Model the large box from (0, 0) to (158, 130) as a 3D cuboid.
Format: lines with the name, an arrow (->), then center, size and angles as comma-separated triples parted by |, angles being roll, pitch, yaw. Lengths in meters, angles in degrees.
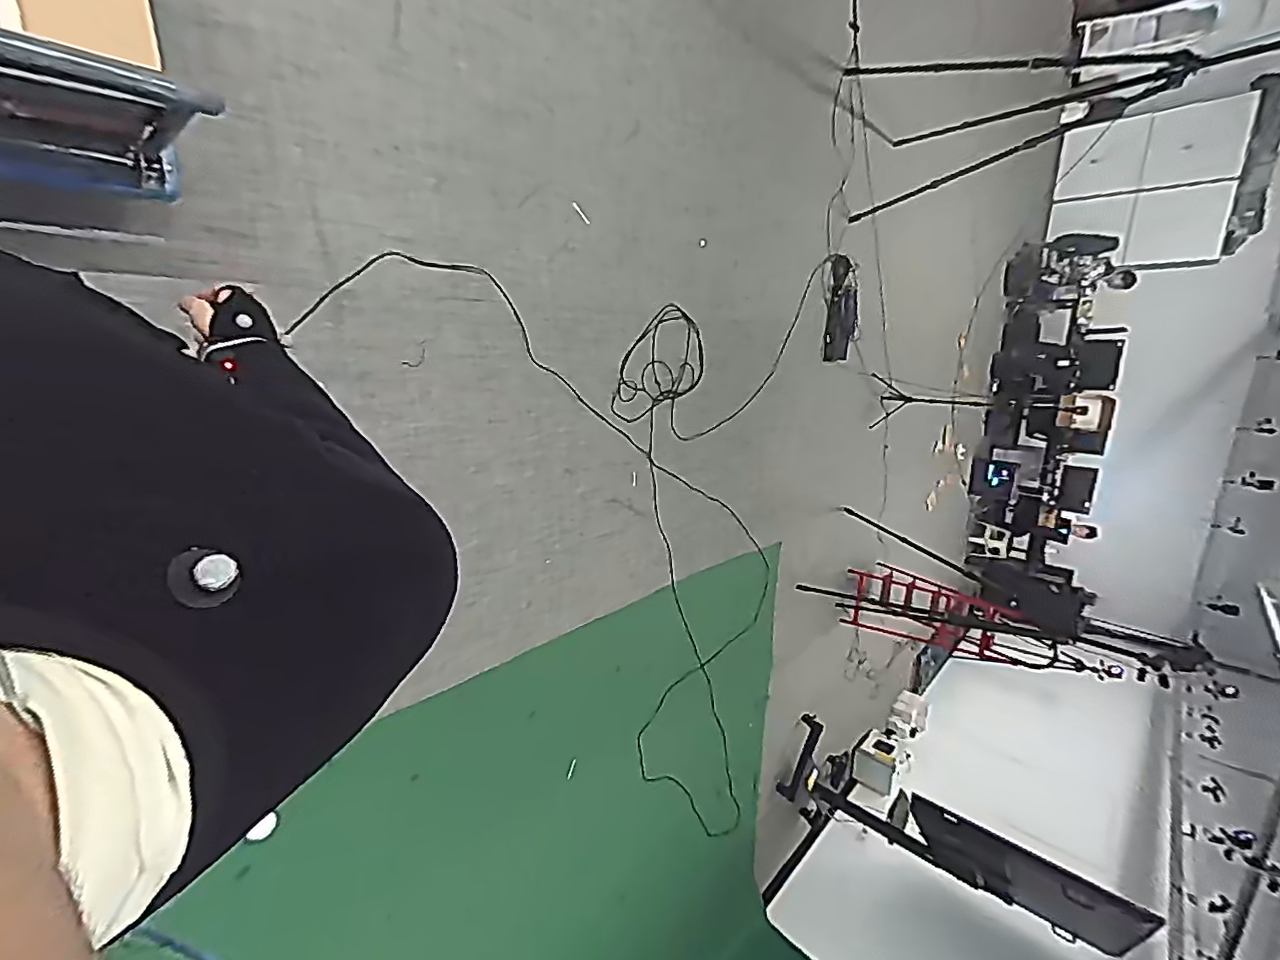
large box -> -0.950, -0.792, 0.769 | 0.320, 0.320, 0.408 | -16, 111, -44
